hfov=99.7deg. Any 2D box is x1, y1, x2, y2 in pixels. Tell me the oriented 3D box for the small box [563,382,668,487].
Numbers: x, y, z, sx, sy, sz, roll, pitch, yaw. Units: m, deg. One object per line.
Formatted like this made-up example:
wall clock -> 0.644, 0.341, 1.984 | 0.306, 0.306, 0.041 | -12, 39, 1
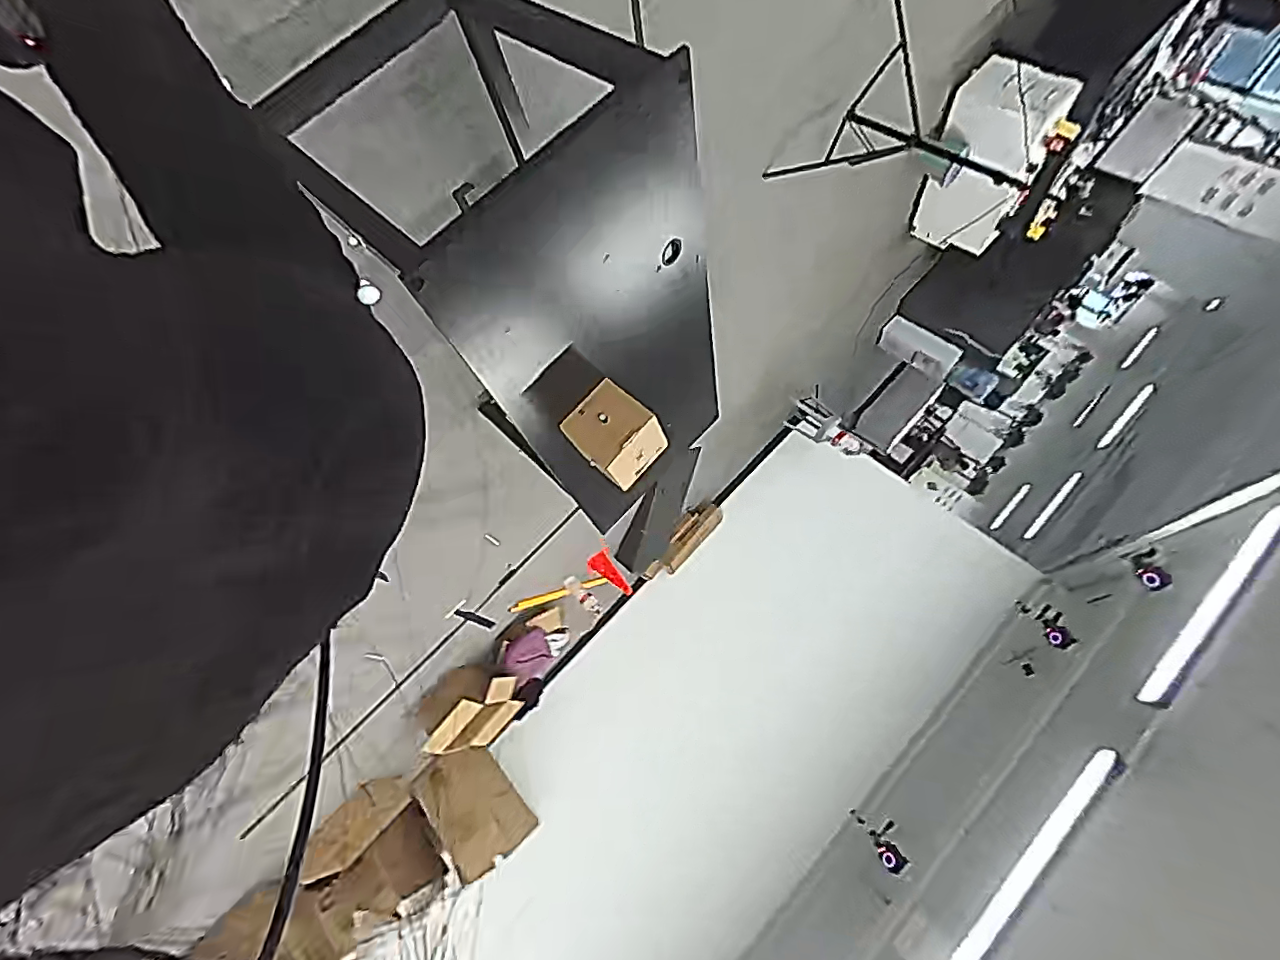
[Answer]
small box -> -0.060, -0.116, 1.328 | 0.168, 0.176, 0.179 | -48, 156, -6
